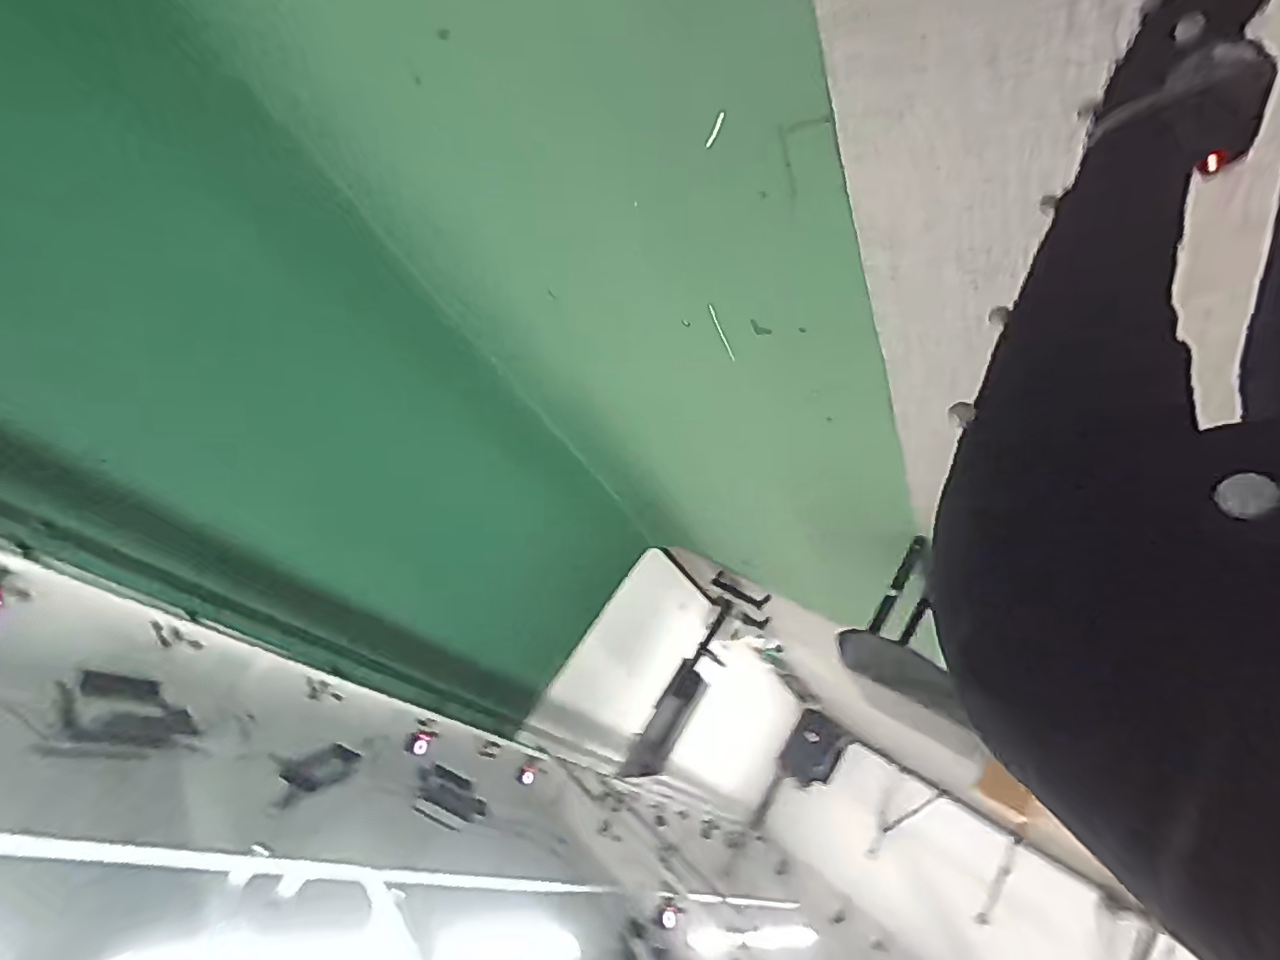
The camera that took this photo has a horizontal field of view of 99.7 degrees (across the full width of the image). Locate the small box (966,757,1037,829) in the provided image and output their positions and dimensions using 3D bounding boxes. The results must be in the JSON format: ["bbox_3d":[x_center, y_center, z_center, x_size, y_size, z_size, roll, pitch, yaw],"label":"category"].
[{"bbox_3d":[1.363,1.173,2.044,0.179,0.176,0.168,22,159,40],"label":"small box"}]
